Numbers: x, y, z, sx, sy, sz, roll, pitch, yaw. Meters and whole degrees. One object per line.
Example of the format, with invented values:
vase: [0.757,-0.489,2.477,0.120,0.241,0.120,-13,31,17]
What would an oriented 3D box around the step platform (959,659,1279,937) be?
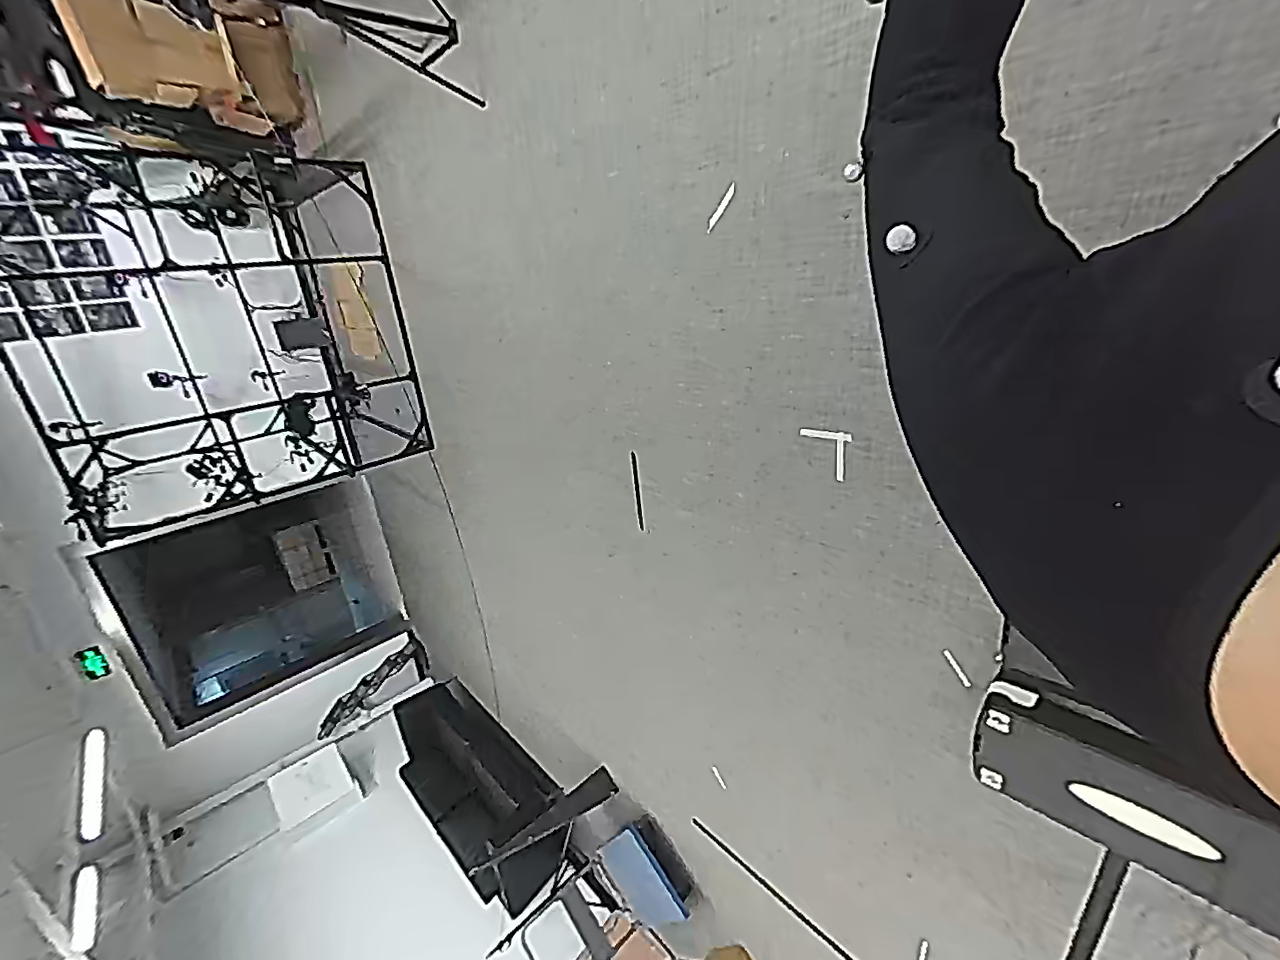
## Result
step platform: [1.150,0.710,1.281,0.684,0.204,0.286,16,120,47]
